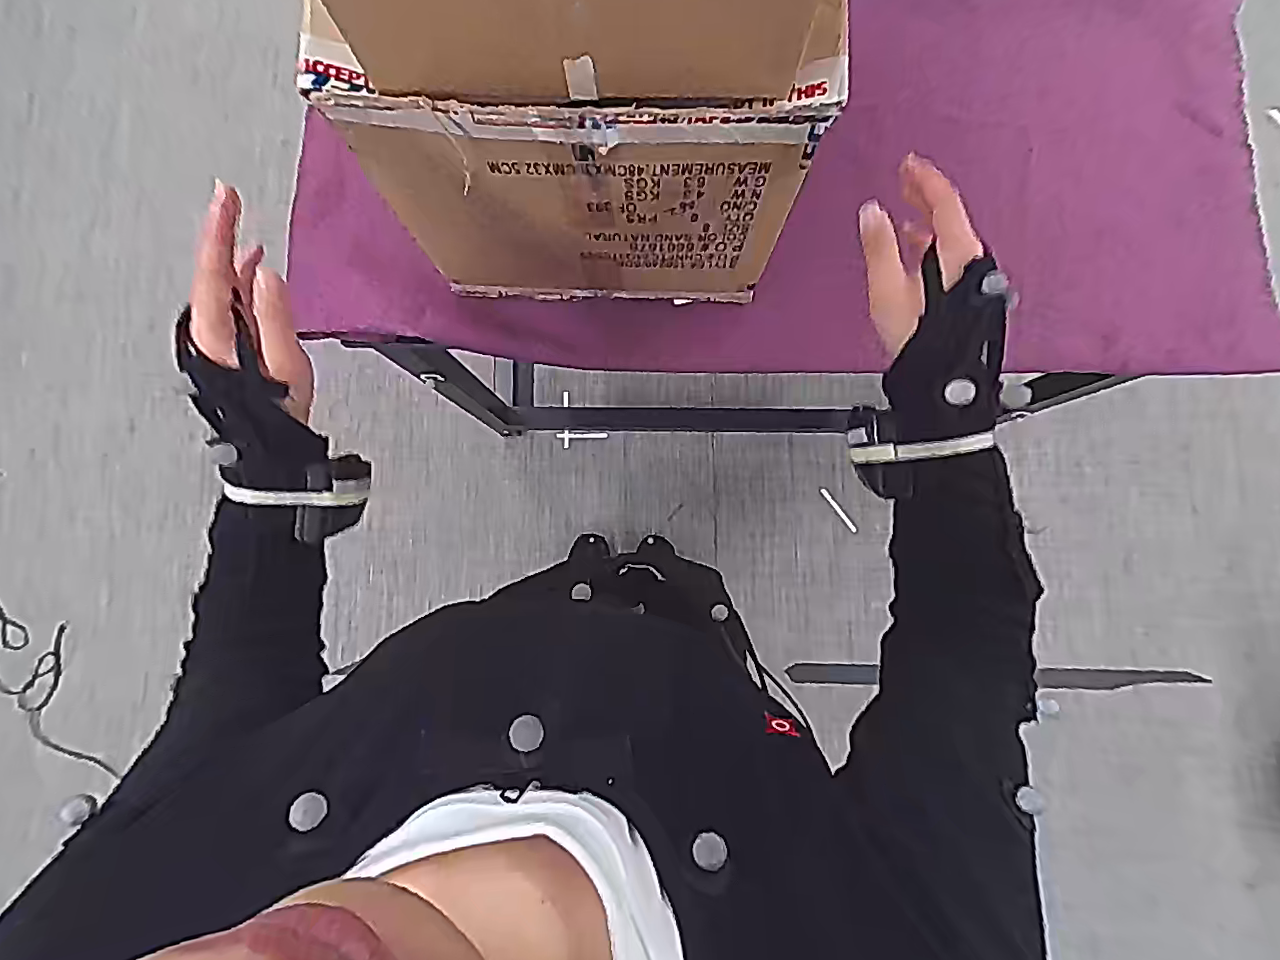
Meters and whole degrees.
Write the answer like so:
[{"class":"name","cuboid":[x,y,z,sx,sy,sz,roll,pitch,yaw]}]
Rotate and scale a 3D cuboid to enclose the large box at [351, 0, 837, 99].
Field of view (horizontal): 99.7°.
[{"class":"large box","cuboid":[-0.031,-0.495,0.270,0.320,0.320,0.408,0,84,2]}]
